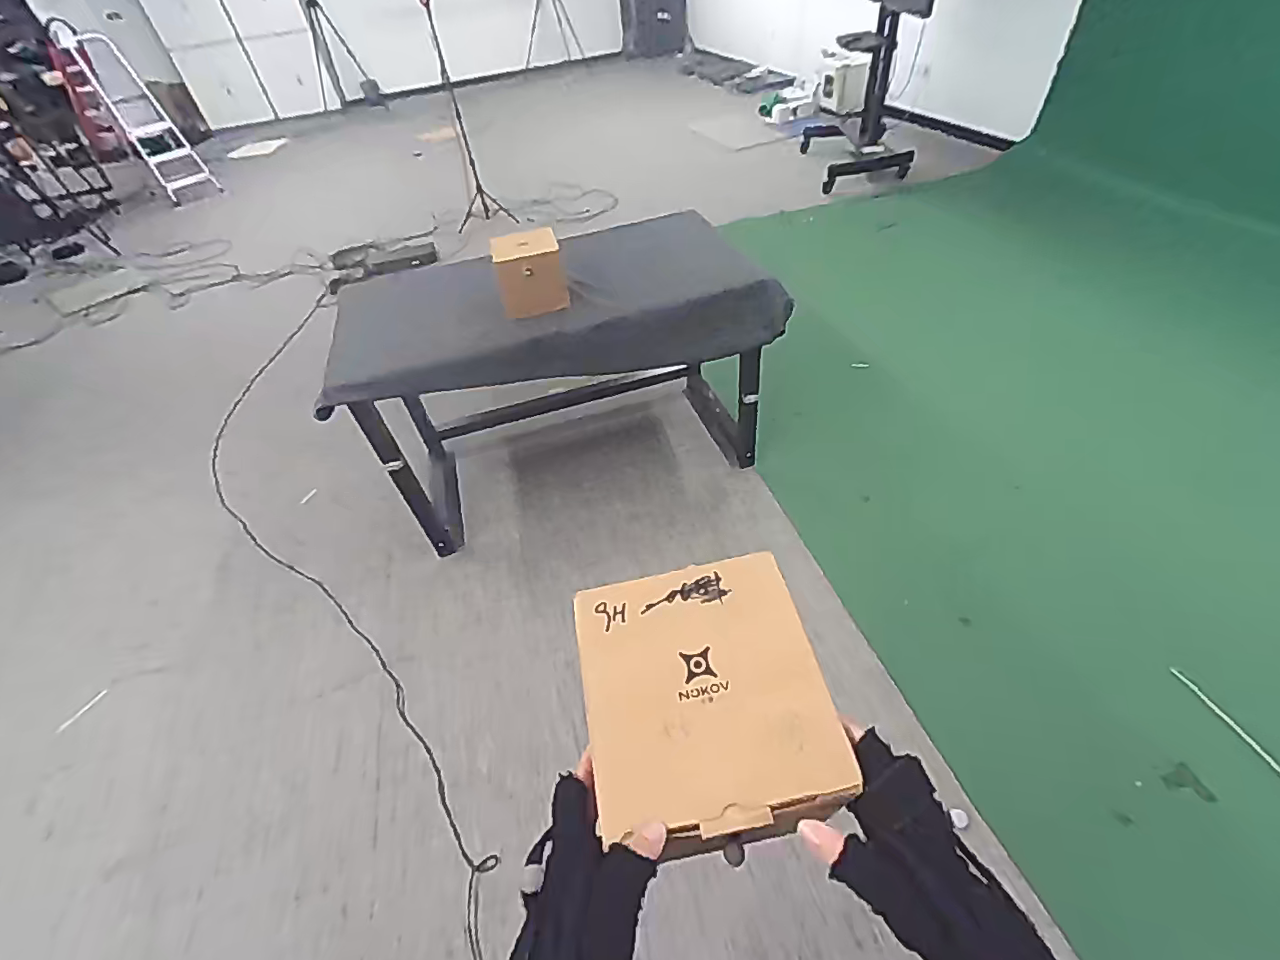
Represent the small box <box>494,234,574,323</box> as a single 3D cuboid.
[{"bbox_3d":[-0.292,-0.556,1.500,0.179,0.176,0.168,-14,46,-7],"label":"small box"}]
